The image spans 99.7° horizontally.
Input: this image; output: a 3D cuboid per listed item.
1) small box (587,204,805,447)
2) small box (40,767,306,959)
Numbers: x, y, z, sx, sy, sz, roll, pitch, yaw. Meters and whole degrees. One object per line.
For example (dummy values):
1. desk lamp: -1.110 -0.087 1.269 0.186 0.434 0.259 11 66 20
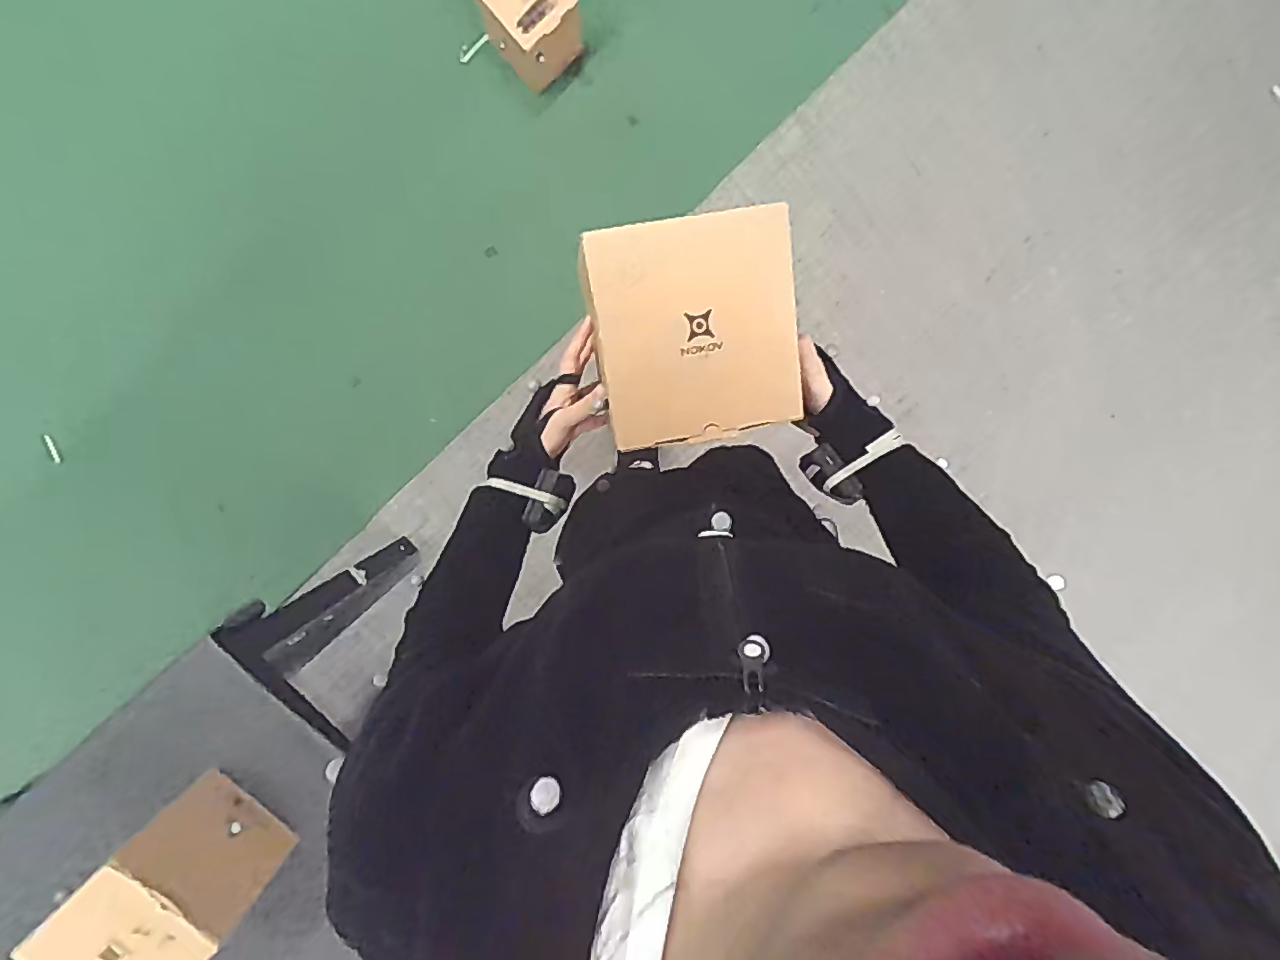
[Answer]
1. small box: 0.043 -0.143 0.522 0.168 0.176 0.179 -10 107 -3
2. small box: -0.606 0.542 0.730 0.179 0.176 0.168 -44 97 4
